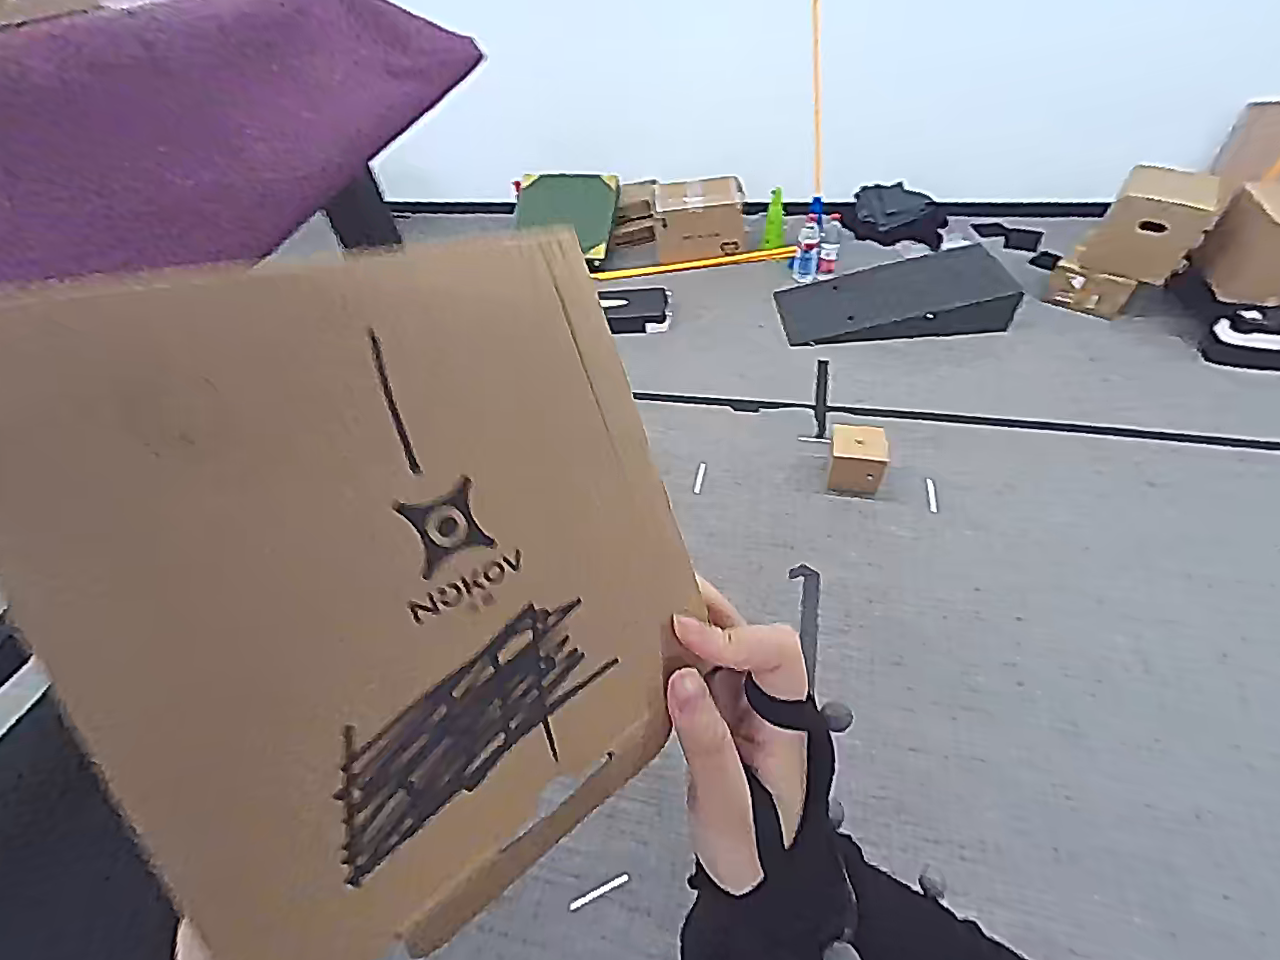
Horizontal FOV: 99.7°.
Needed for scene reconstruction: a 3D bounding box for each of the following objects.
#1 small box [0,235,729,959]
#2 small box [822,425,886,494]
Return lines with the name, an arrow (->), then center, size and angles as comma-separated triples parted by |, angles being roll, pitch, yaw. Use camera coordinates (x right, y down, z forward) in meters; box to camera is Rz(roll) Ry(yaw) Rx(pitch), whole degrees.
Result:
small box -> -0.098, 0.026, 0.224 | 0.168, 0.179, 0.176 | -25, 10, -36
small box -> 0.746, -0.068, 1.893 | 0.179, 0.176, 0.168 | 7, 48, 12
